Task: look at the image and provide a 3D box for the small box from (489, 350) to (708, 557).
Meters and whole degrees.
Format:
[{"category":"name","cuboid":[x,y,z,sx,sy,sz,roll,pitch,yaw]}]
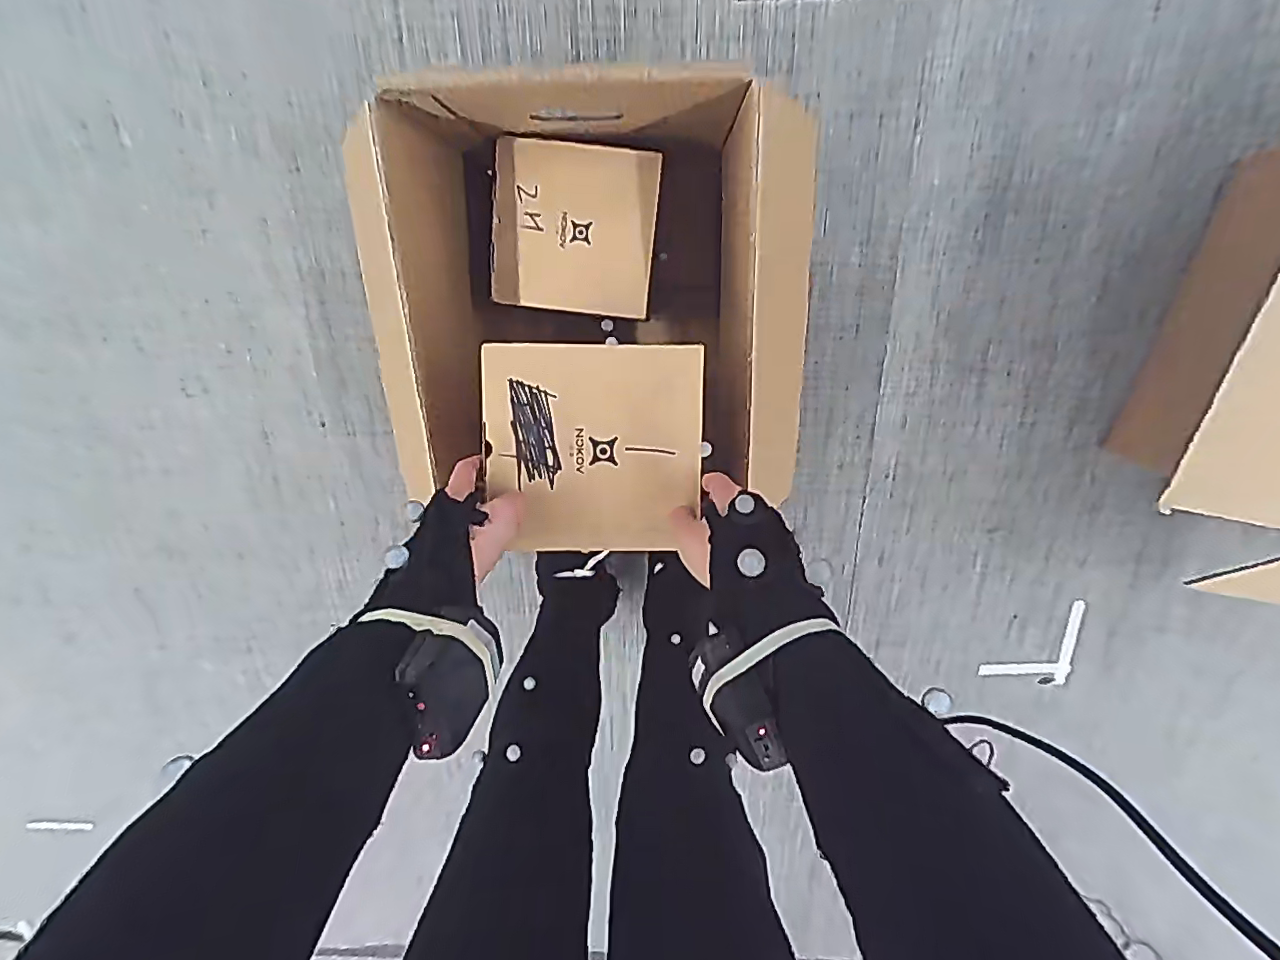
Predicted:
[{"category":"small box","cuboid":[-0.032,-0.029,0.515,0.179,0.176,0.168,1,97,1]}]
